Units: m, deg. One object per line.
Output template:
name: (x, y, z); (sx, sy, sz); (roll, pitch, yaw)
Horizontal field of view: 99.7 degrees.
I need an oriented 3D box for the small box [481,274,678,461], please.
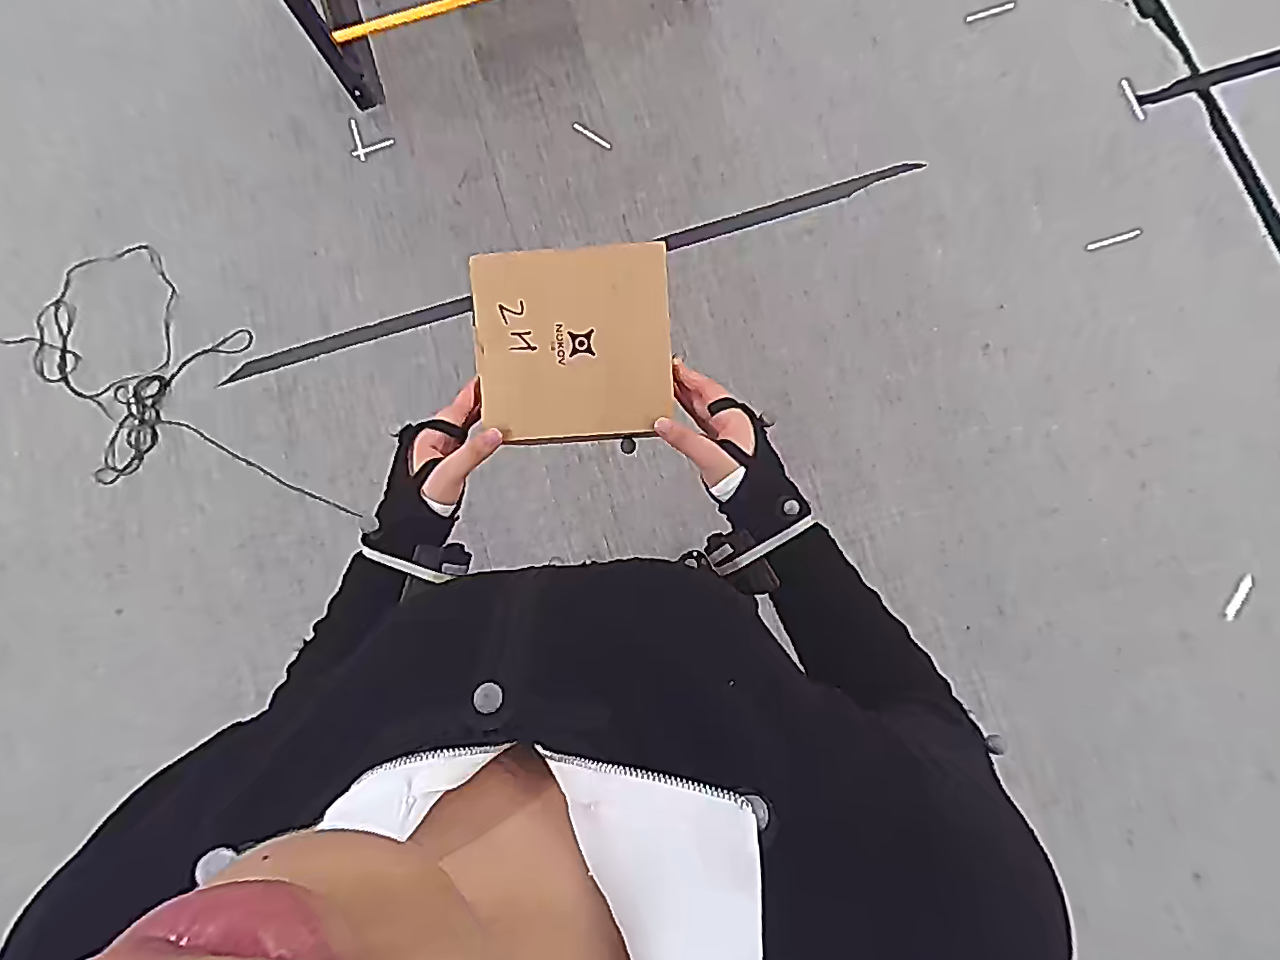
small box: (-0.054, -0.107, 0.573); (0.179, 0.176, 0.168); (-3, 93, 2)
